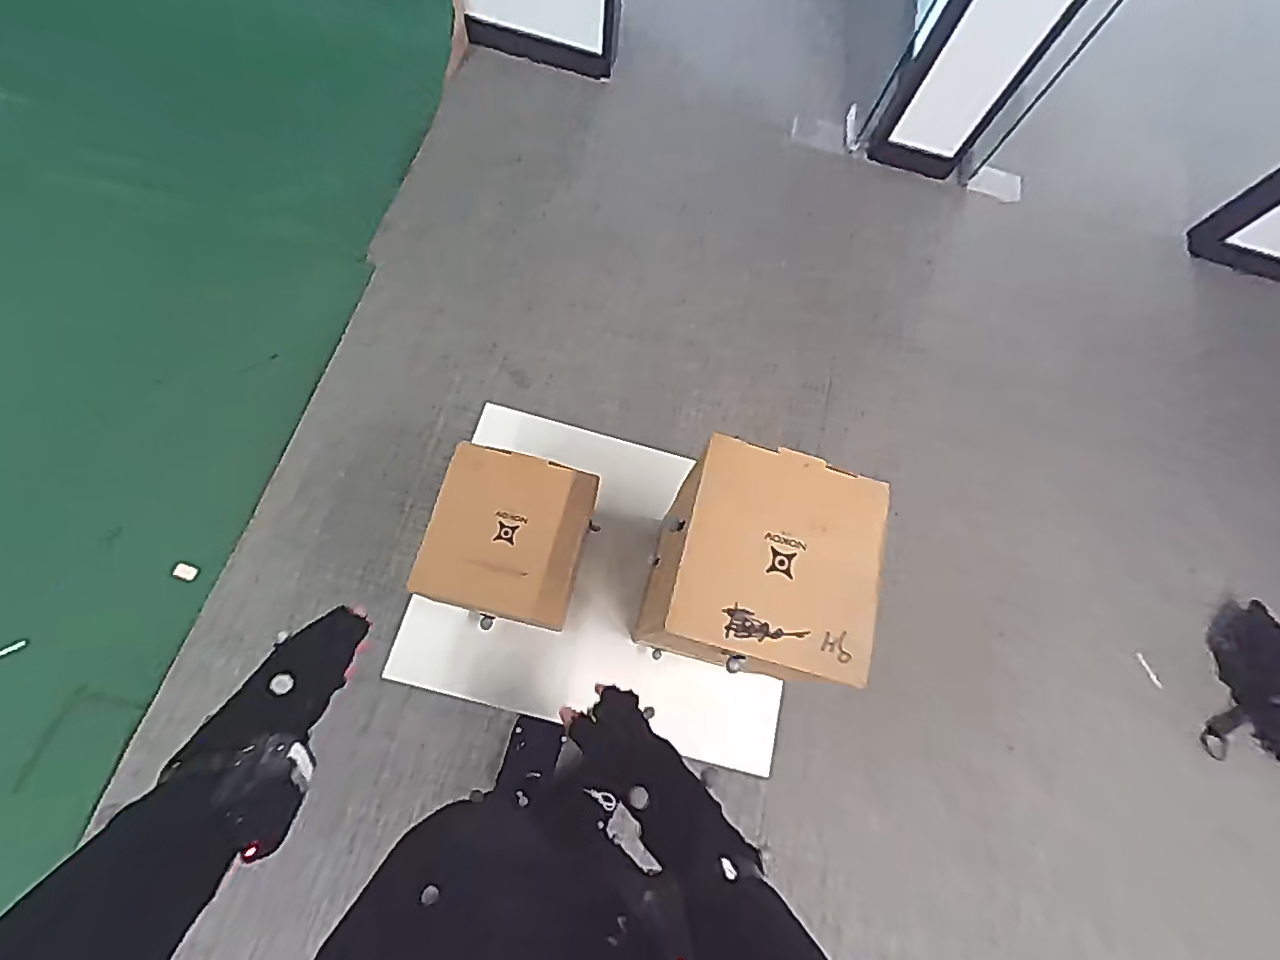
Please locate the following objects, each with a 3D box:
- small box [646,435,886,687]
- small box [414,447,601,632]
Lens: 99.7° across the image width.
[{"bbox_3d":[0.108,0.085,0.519,0.168,0.176,0.179,16,71,-1],"label":"small box"},{"bbox_3d":[-0.149,0.083,0.667,0.168,0.176,0.179,12,73,-1],"label":"small box"}]
